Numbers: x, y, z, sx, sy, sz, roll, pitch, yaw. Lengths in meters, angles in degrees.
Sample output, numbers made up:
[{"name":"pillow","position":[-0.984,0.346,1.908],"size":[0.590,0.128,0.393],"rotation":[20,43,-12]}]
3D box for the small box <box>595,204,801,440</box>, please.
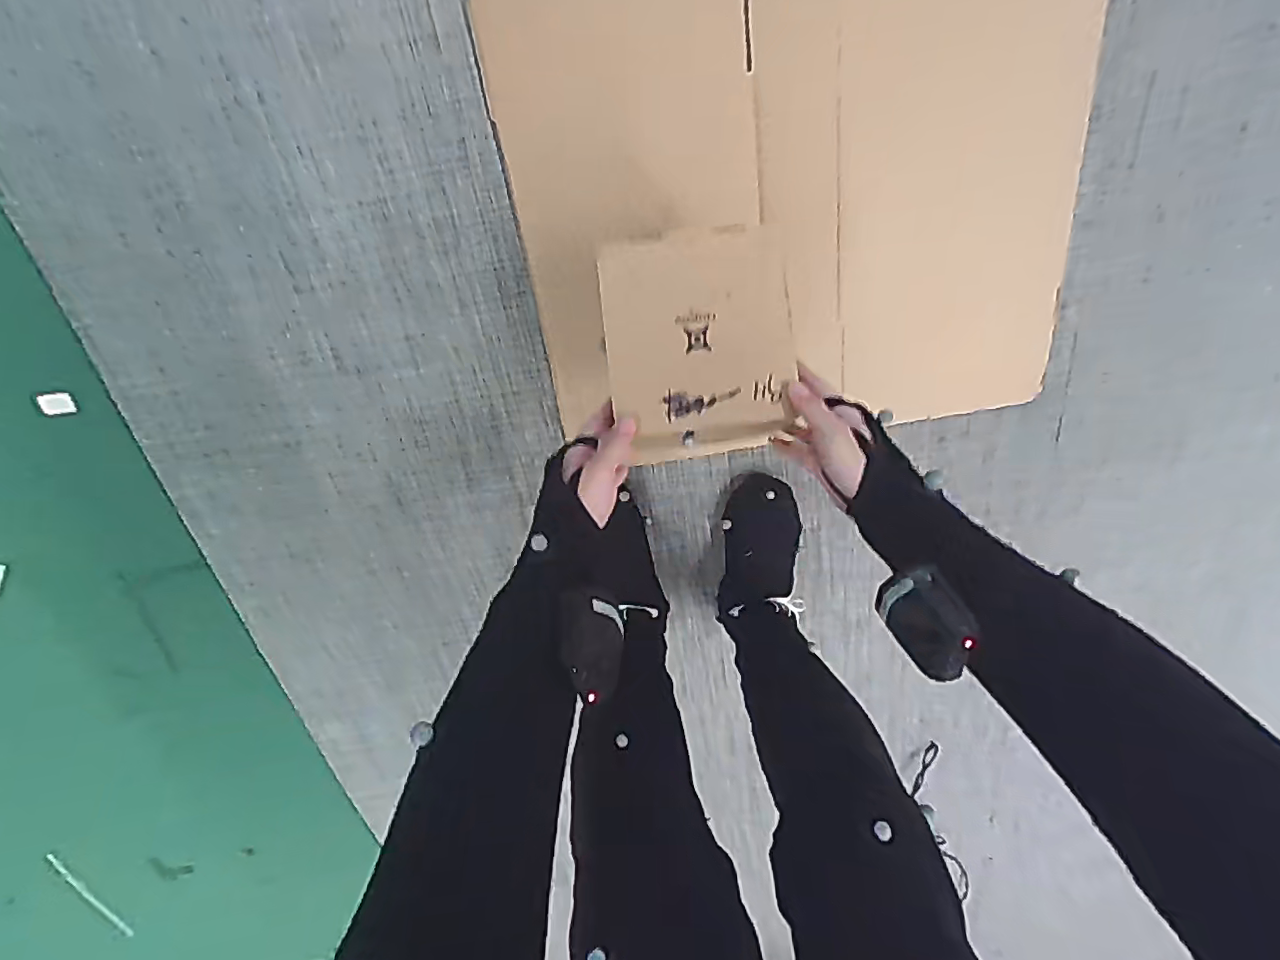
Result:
[{"name":"small box","position":[0.053,-0.142,0.545],"size":[0.168,0.176,0.179],"rotation":[-6,89,4]}]
